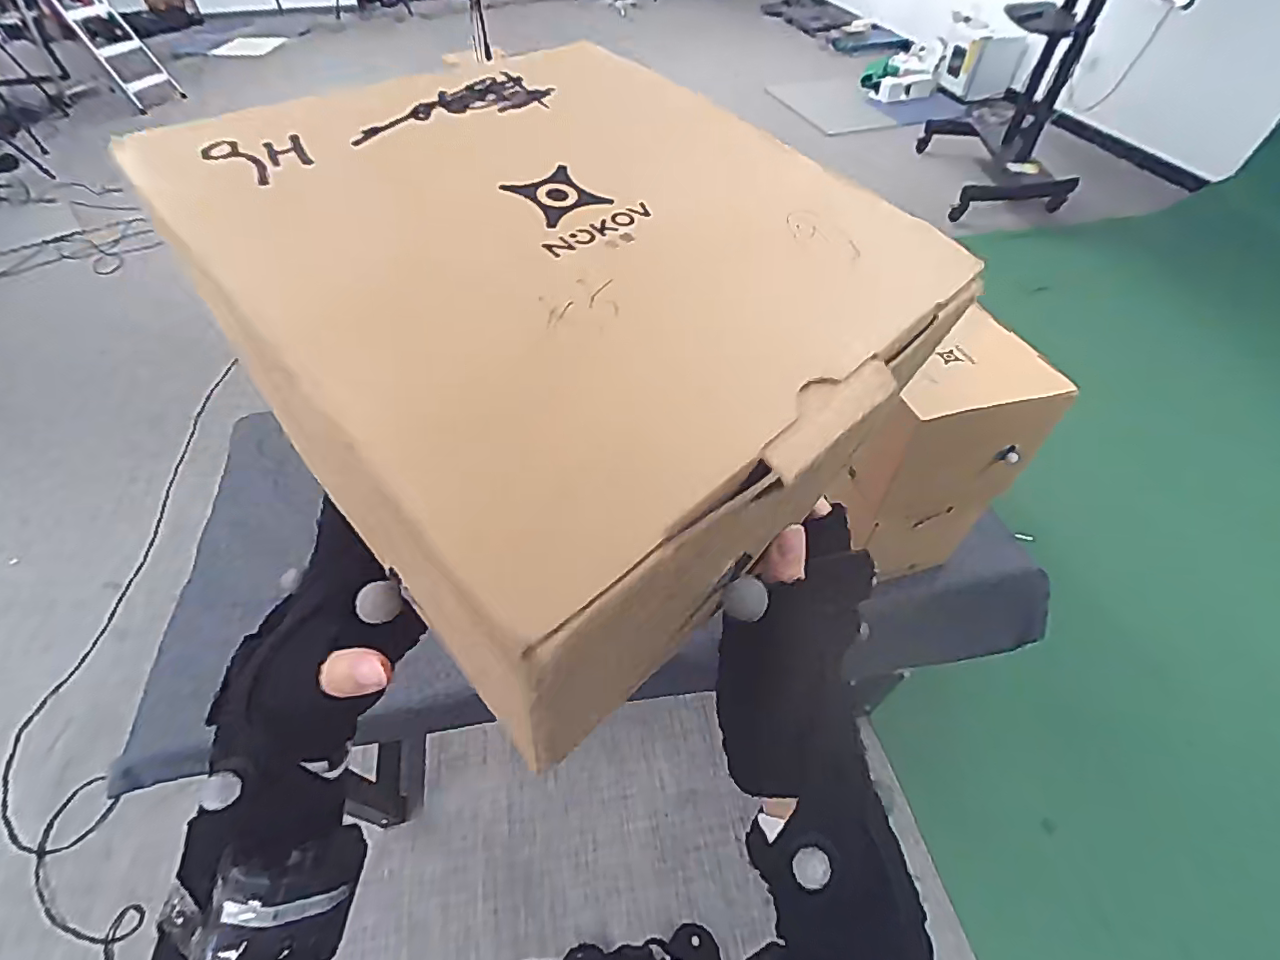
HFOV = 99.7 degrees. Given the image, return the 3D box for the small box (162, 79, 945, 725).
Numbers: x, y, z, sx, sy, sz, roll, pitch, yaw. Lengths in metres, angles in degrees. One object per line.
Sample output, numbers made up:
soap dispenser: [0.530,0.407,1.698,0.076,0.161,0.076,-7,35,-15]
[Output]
small box: [-0.029,-0.024,0.226,0.168,0.176,0.179,-36,68,-29]

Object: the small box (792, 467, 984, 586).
small box: [0.332,0.033,0.773,0.168,0.176,0.179,-13,49,-9]

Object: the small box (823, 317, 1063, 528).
small box: [0.330,-0.066,0.645,0.179,0.176,0.168,-12,48,-7]
